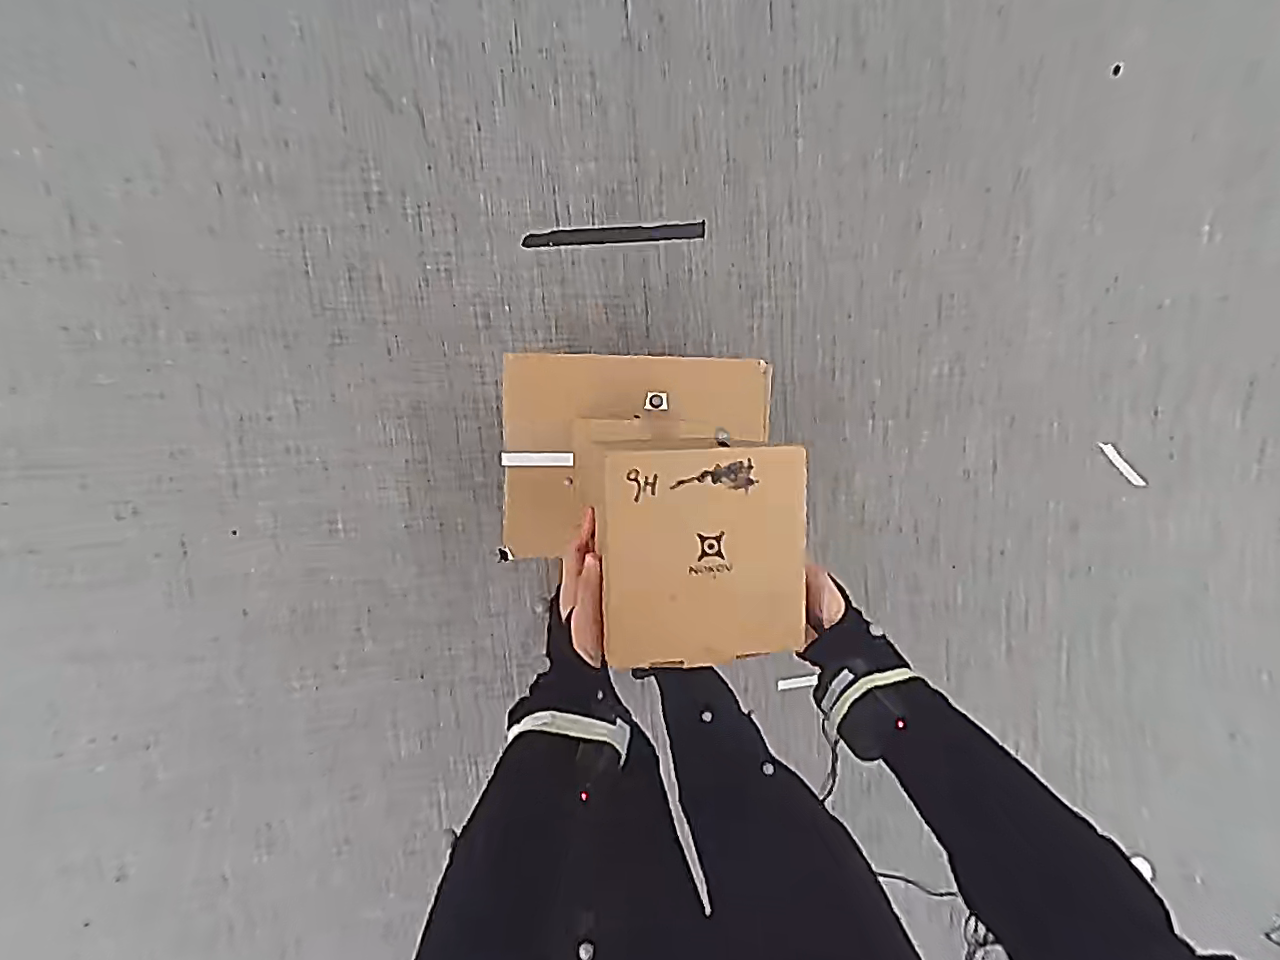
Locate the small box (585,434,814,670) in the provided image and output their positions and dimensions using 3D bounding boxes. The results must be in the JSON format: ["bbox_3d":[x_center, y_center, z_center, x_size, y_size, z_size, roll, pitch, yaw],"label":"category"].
[{"bbox_3d":[0.042,0.051,0.507,0.168,0.176,0.179,-2,98,-13],"label":"small box"}]
